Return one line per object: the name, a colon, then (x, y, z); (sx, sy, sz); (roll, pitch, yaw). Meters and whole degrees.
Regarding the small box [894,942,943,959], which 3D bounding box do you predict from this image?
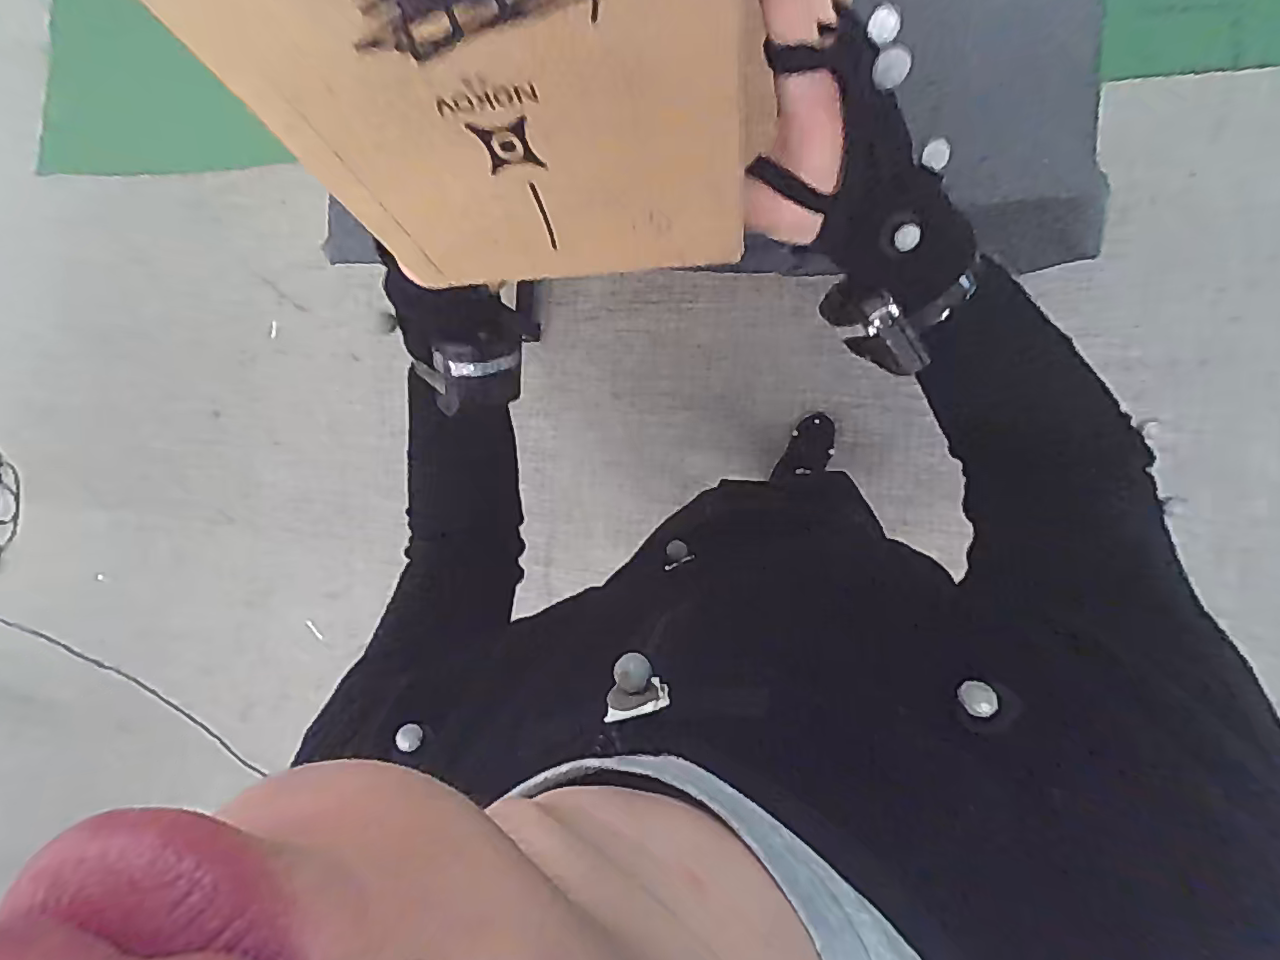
small box: (0.711, 1.292, 1.305); (0.168, 0.176, 0.179); (-44, 77, 10)
